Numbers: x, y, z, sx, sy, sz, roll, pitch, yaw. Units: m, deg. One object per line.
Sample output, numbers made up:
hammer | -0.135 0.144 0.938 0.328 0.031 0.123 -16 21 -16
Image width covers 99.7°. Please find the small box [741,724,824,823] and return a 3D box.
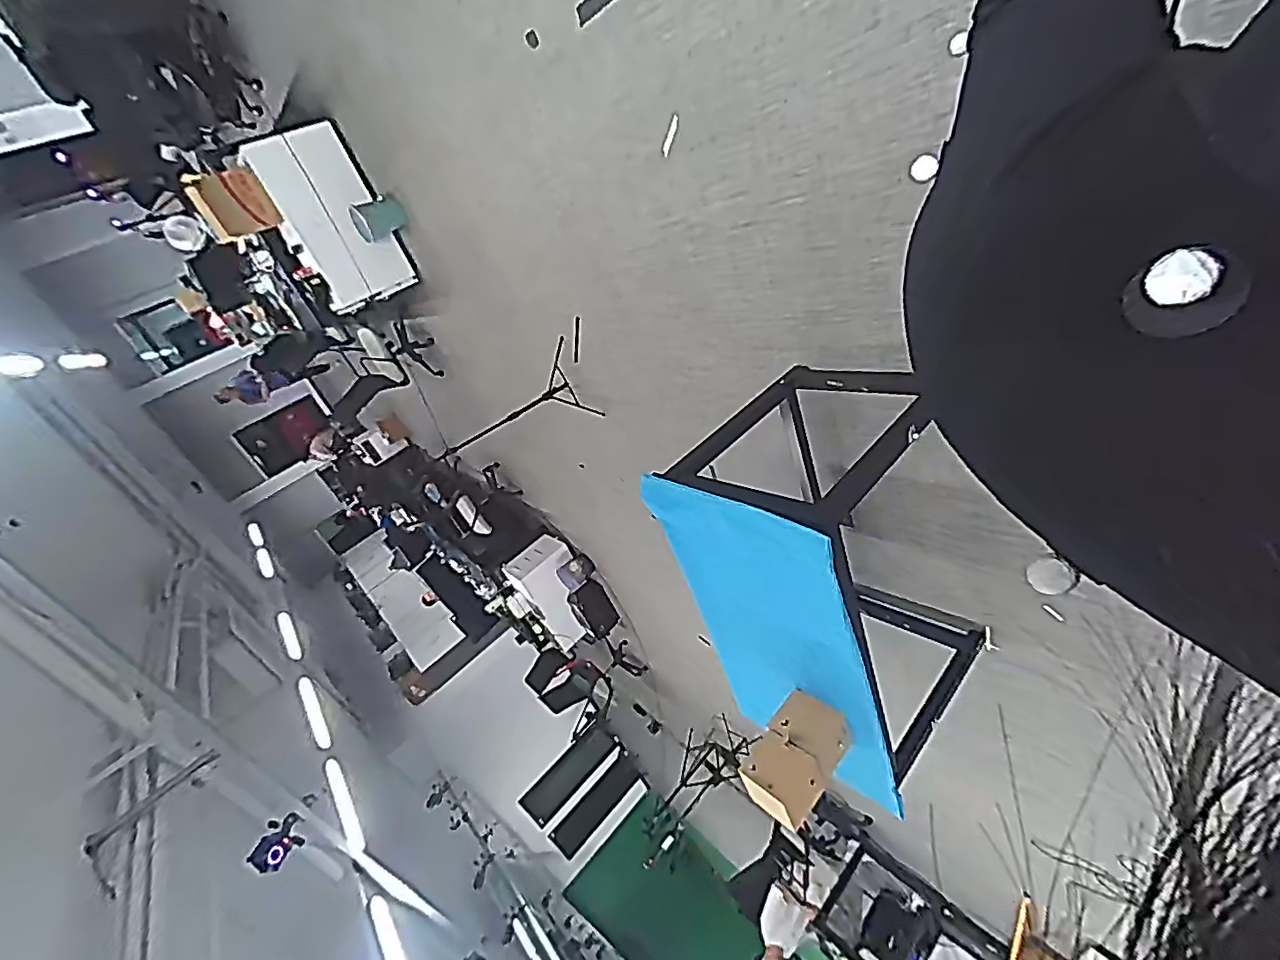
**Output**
small box | 0.433 0.898 1.652 0.168 0.176 0.179 17 138 49

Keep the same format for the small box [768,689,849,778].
small box | 0.544 0.805 1.736 0.179 0.176 0.168 16 139 47
